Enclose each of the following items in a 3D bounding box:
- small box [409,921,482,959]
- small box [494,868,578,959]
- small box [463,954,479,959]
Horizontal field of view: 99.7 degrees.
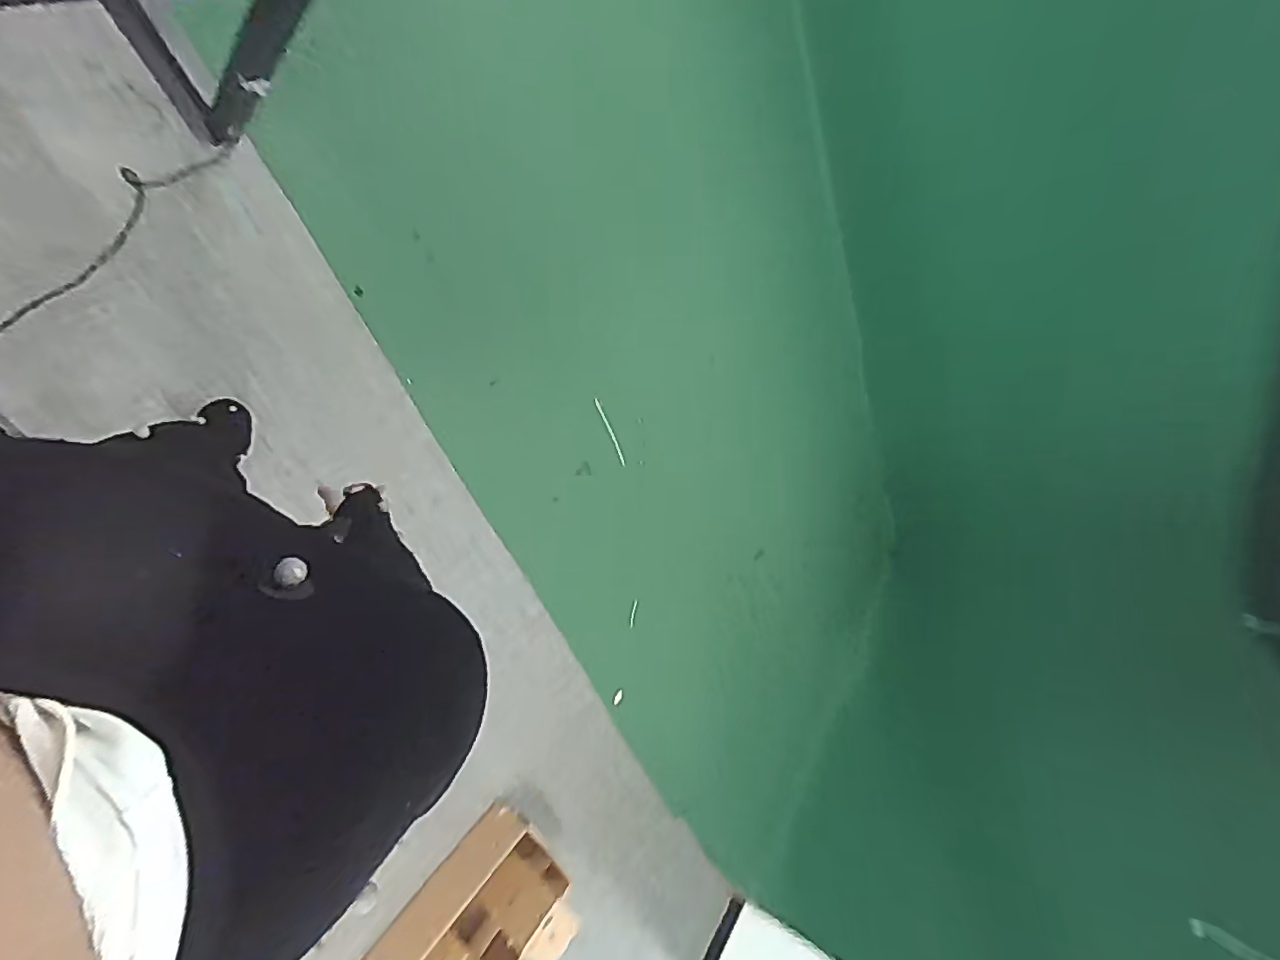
[{"bbox_3d":[-0.623,1.575,1.738,0.168,0.176,0.179,-42,122,-36],"label":"small box"},{"bbox_3d":[-0.341,1.428,1.774,0.168,0.176,0.179,-44,123,-34],"label":"small box"},{"bbox_3d":[-0.503,1.588,1.625,0.168,0.176,0.179,-42,122,-36],"label":"small box"}]
